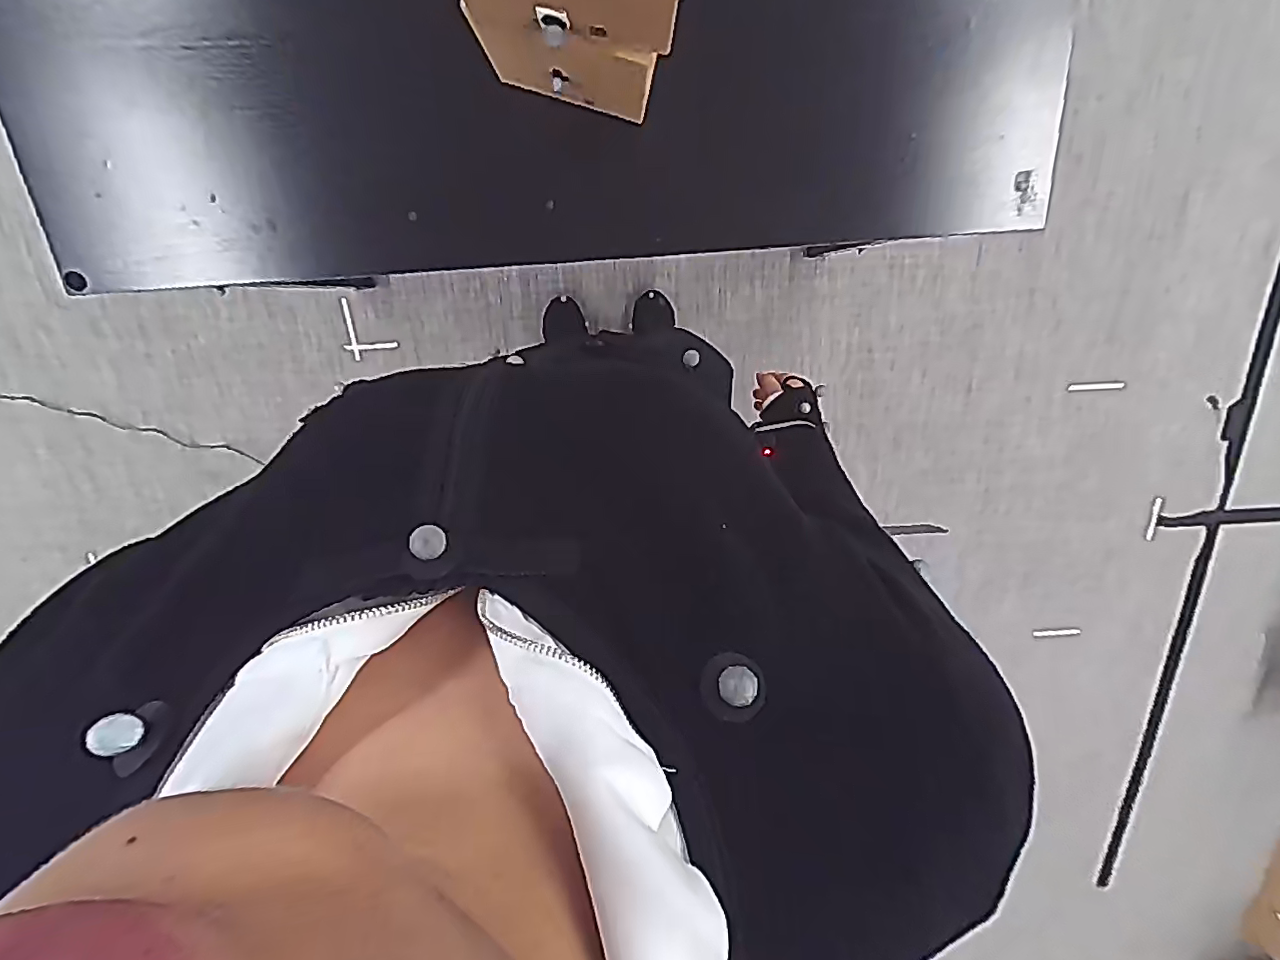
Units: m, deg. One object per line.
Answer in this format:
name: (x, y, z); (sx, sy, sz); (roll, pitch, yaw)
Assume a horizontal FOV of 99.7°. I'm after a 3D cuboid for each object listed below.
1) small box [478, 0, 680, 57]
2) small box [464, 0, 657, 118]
small box: (-0.044, -0.434, 0.369); (0.168, 0.176, 0.179); (5, 109, -3)
small box: (-0.055, -0.487, 0.522); (0.168, 0.176, 0.179); (13, 107, -7)
